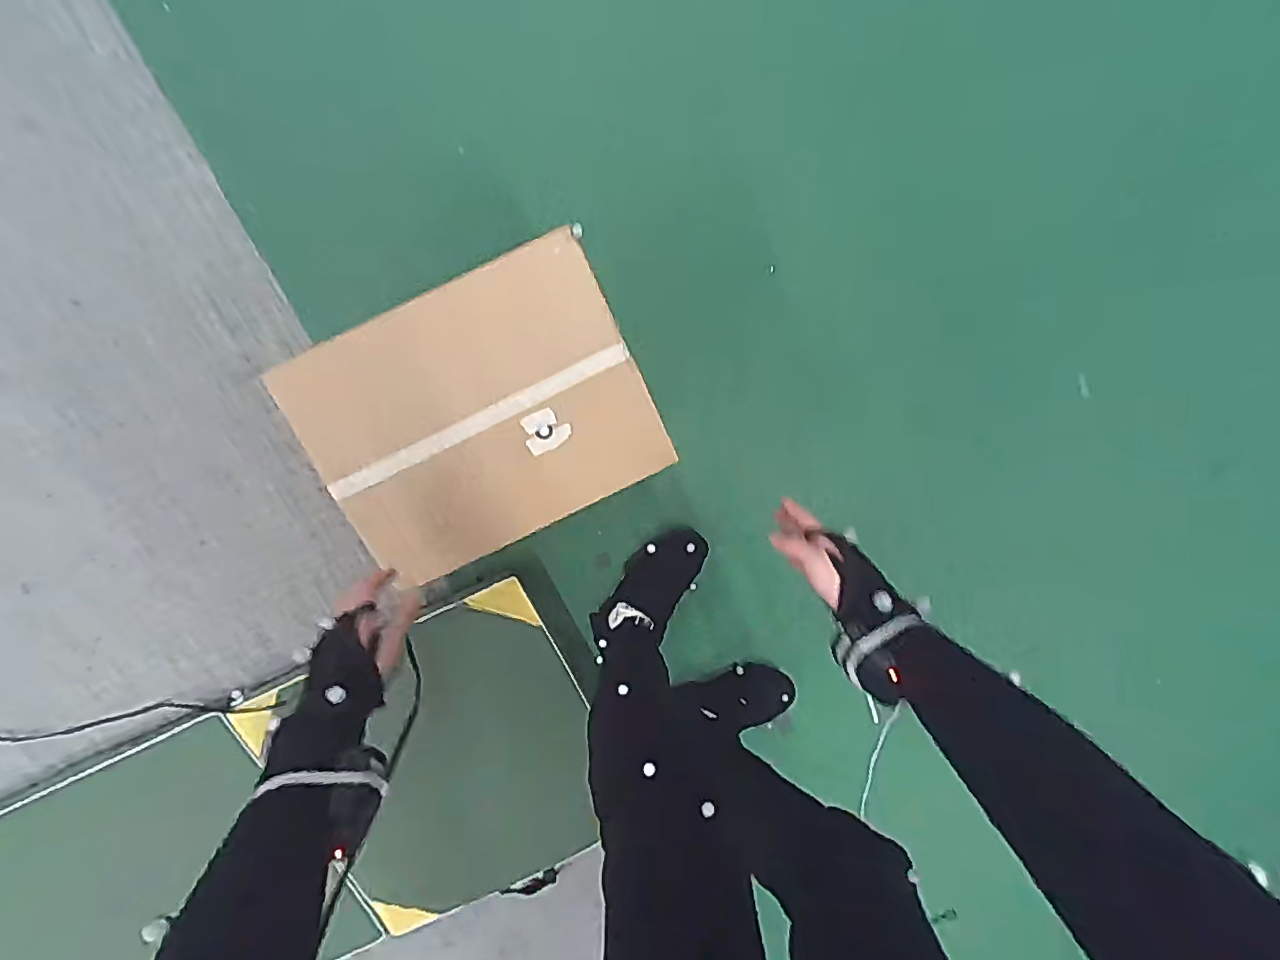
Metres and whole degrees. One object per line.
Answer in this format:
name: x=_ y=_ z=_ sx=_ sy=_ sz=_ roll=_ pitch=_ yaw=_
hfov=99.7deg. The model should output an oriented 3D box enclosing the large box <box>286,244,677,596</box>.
large box: x=-0.205 y=-0.090 z=0.828 sx=0.408 sy=0.320 sz=0.320 roll=-26 pitch=102 yaw=-1
